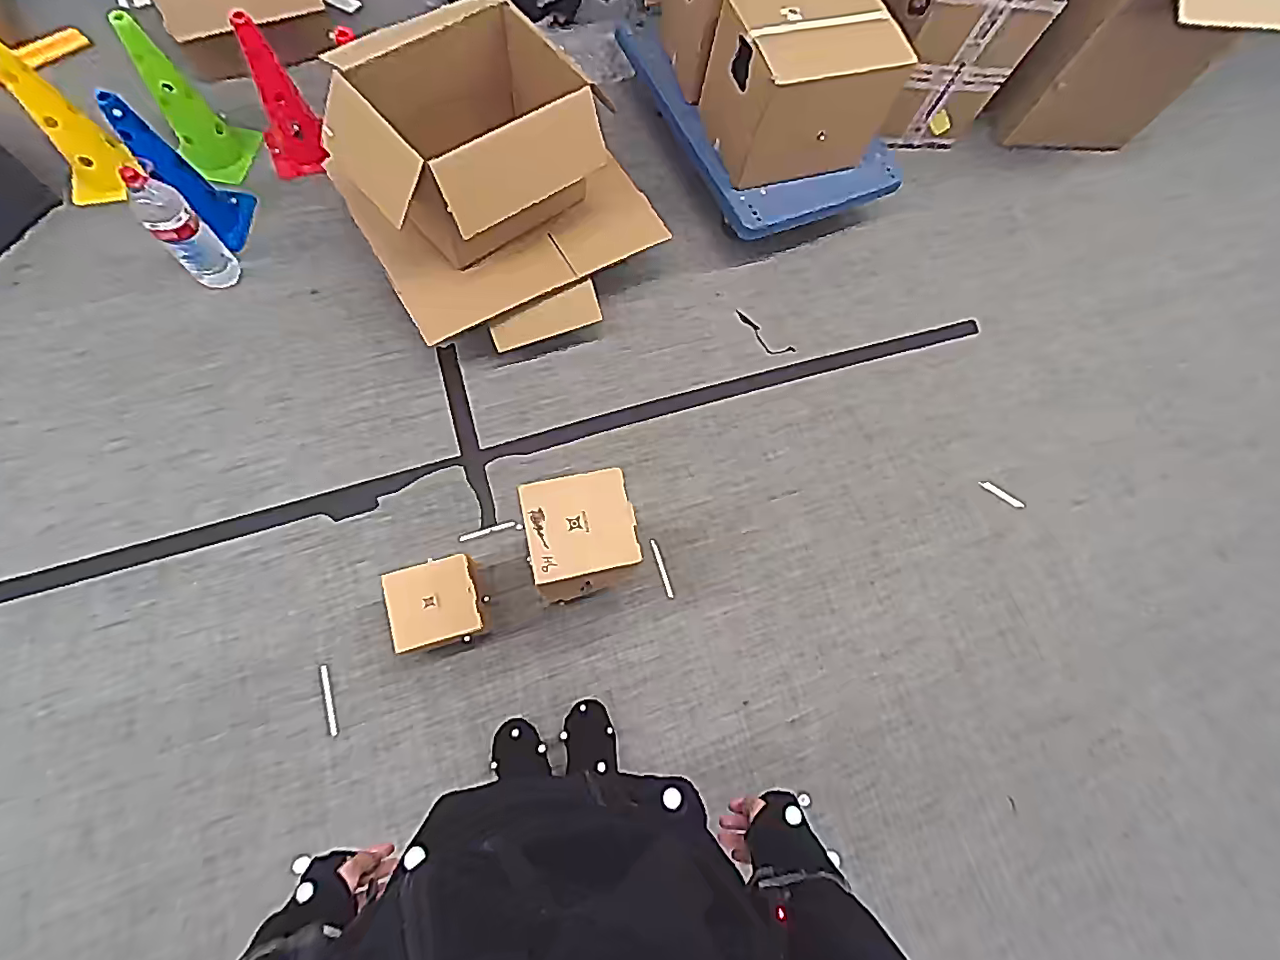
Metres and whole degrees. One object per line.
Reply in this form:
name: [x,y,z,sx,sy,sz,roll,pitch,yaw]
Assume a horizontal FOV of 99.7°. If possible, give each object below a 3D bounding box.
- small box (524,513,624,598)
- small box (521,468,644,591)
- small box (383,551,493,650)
small box: [-0.128,0.135,1.100,0.179,0.176,0.168,-14,76,-13]
small box: [-0.106,0.091,0.944,0.179,0.176,0.168,-10,75,-12]
small box: [-0.438,0.270,1.191,0.179,0.176,0.168,-15,75,-12]
